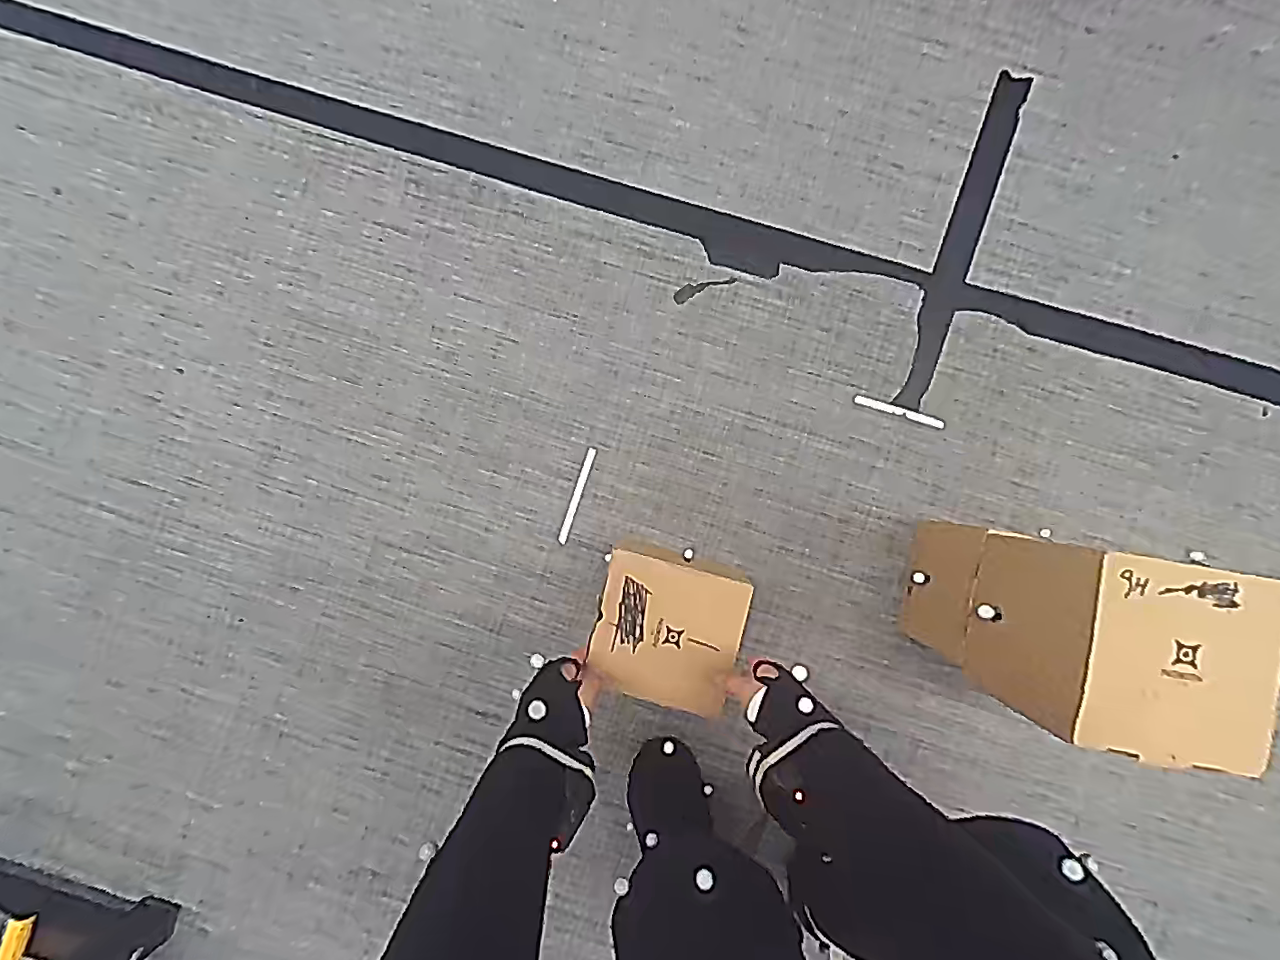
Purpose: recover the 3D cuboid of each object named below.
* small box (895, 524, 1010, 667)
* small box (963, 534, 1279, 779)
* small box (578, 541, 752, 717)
[{"bbox_3d":[0.473,0.156,0.714,0.179,0.176,0.168,12,89,1],"label":"small box"},{"bbox_3d":[0.465,0.161,0.551,0.168,0.176,0.179,11,90,1],"label":"small box"},{"bbox_3d":[0.031,0.183,0.722,0.179,0.176,0.168,15,90,1],"label":"small box"}]
